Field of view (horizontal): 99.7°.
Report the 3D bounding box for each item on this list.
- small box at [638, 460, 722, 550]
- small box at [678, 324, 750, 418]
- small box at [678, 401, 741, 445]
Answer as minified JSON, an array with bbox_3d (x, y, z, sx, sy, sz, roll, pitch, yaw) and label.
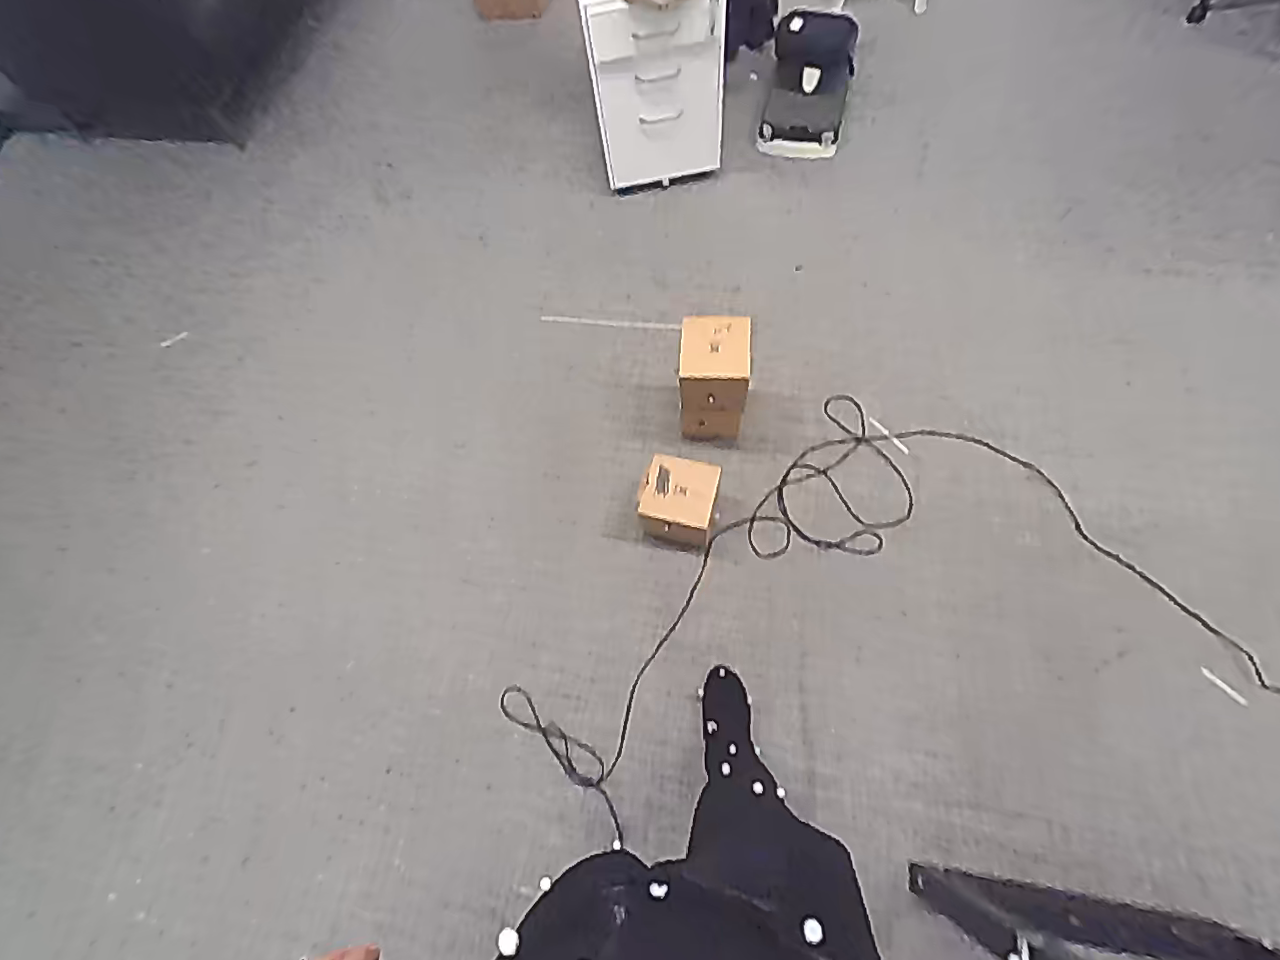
[{"bbox_3d":[0.107,0.069,1.403,0.179,0.176,0.168,12,68,11],"label":"small box"},{"bbox_3d":[0.188,-0.270,1.365,0.168,0.176,0.179,2,66,8],"label":"small box"},{"bbox_3d":[0.202,-0.211,1.518,0.168,0.176,0.179,4,66,9],"label":"small box"}]
